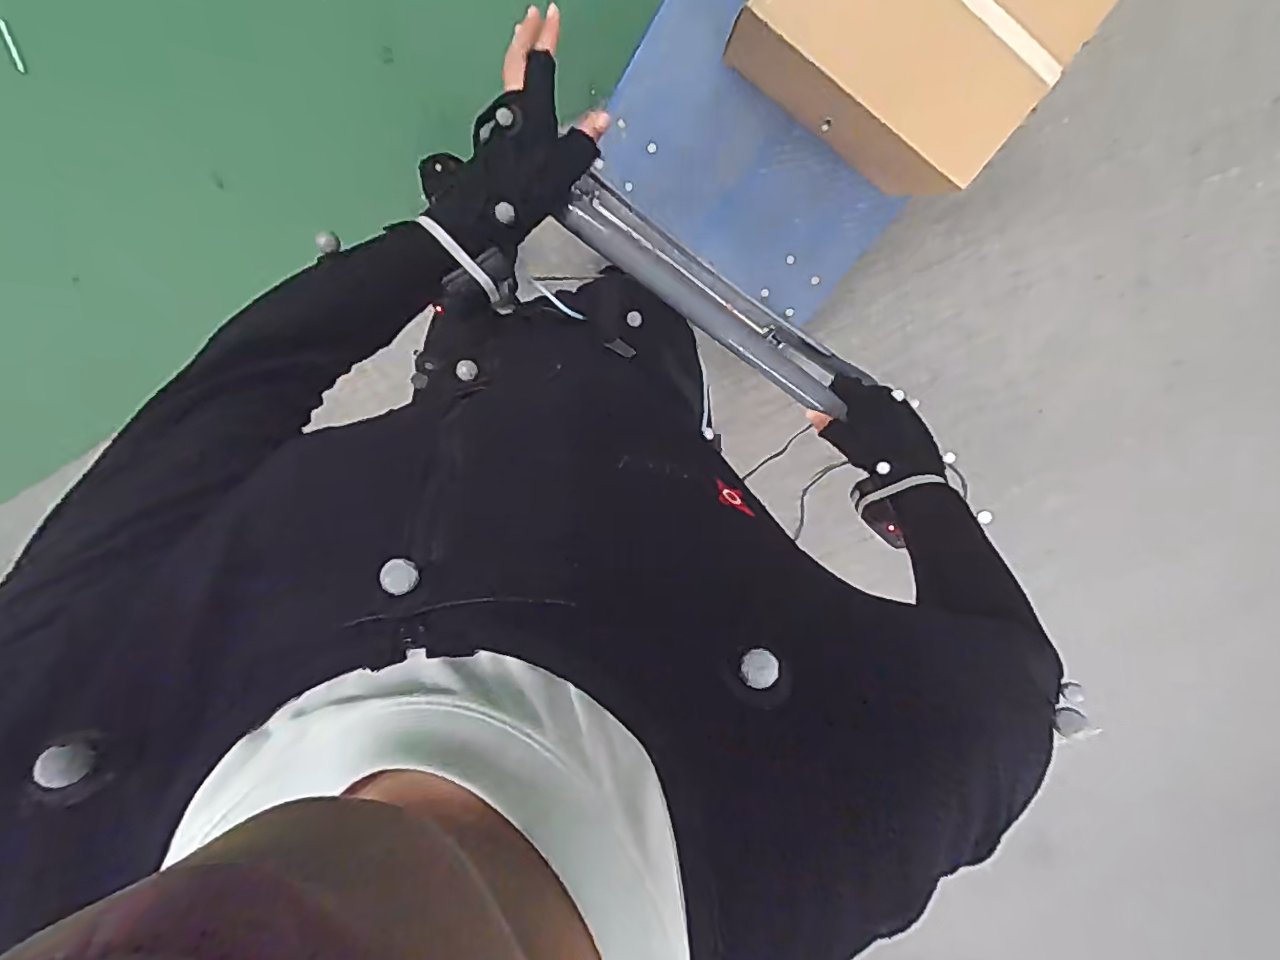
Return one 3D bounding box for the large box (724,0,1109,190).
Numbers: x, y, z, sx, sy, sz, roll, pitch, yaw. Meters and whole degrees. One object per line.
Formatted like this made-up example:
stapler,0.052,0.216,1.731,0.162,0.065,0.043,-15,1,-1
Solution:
large box,0.386,-0.701,0.825,0.408,0.320,0.320,31,114,-12
